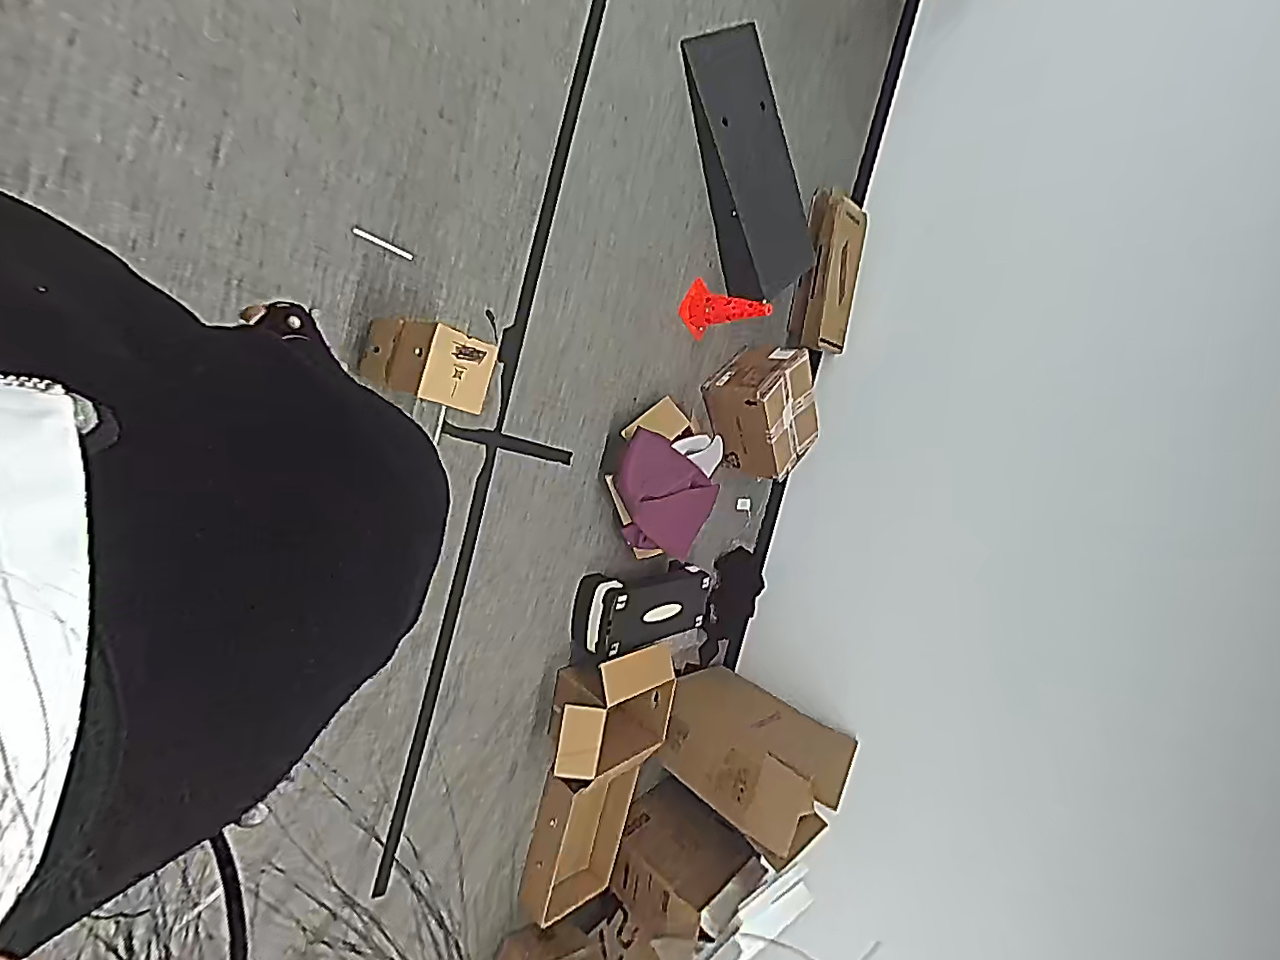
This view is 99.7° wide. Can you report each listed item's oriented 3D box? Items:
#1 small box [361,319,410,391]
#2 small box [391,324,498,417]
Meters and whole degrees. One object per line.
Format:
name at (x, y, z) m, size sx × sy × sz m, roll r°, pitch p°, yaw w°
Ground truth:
small box at (-0.601, -0.308, 1.416) m, size 0.179 × 0.176 × 0.168 m, roll 15°, pitch 91°, yaw -48°
small box at (-0.478, -0.269, 1.312) m, size 0.168 × 0.176 × 0.179 m, roll 15°, pitch 92°, yaw -49°
